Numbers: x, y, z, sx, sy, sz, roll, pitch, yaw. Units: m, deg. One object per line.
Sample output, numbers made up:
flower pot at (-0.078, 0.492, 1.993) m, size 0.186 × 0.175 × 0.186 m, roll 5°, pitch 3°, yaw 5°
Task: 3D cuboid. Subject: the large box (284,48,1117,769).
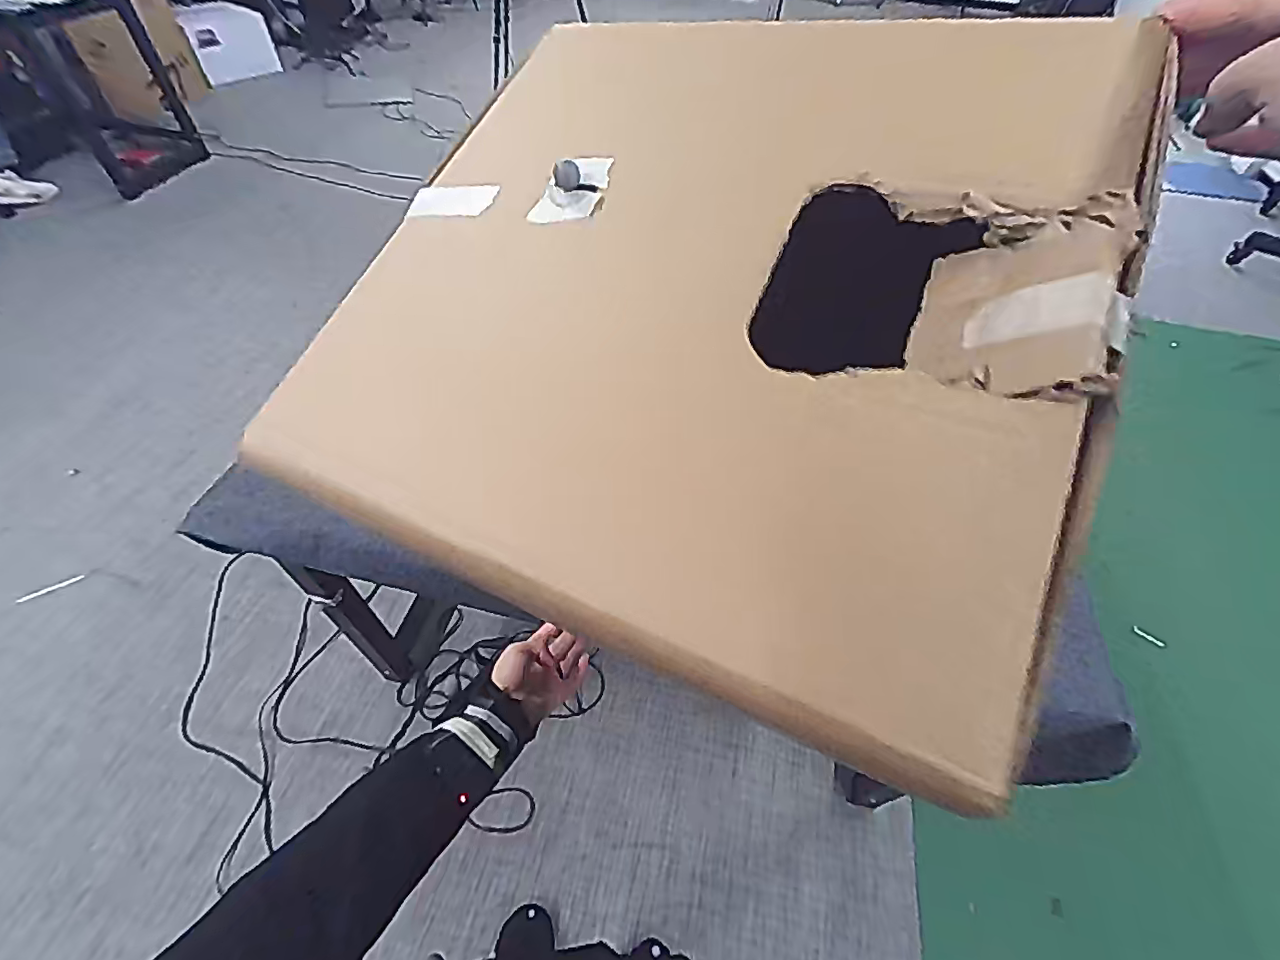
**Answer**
large box at (0.059, -0.021, 0.419) m, size 0.320 × 0.408 × 0.320 m, roll 19°, pitch 72°, yaw 20°
